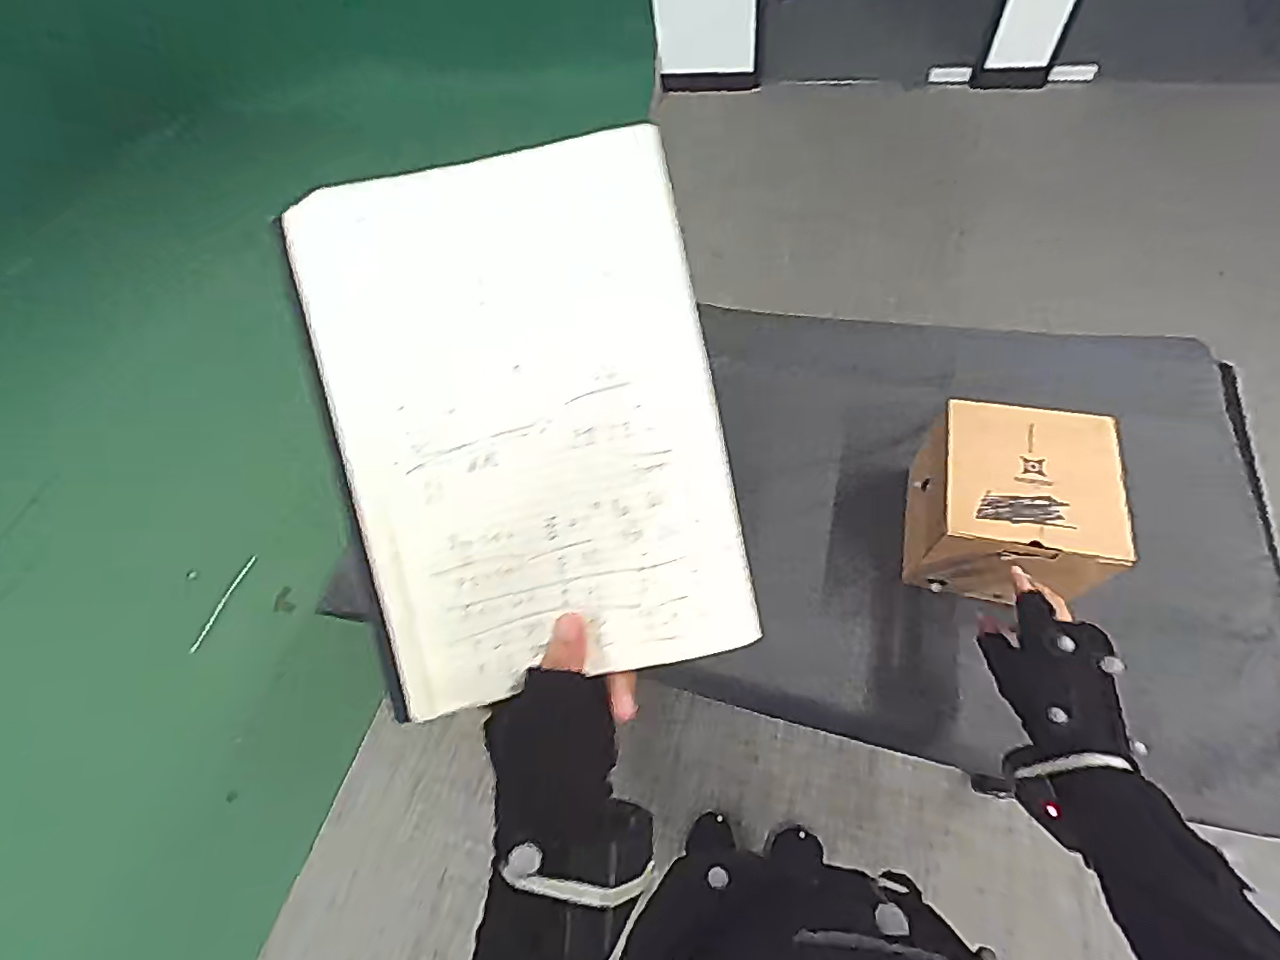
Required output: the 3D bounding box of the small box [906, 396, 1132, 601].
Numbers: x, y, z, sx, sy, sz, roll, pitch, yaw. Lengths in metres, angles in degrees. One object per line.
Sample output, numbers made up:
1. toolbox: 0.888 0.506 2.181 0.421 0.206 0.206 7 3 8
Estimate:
1. small box: 0.428 0.027 0.643 0.168 0.176 0.179 10 63 15
